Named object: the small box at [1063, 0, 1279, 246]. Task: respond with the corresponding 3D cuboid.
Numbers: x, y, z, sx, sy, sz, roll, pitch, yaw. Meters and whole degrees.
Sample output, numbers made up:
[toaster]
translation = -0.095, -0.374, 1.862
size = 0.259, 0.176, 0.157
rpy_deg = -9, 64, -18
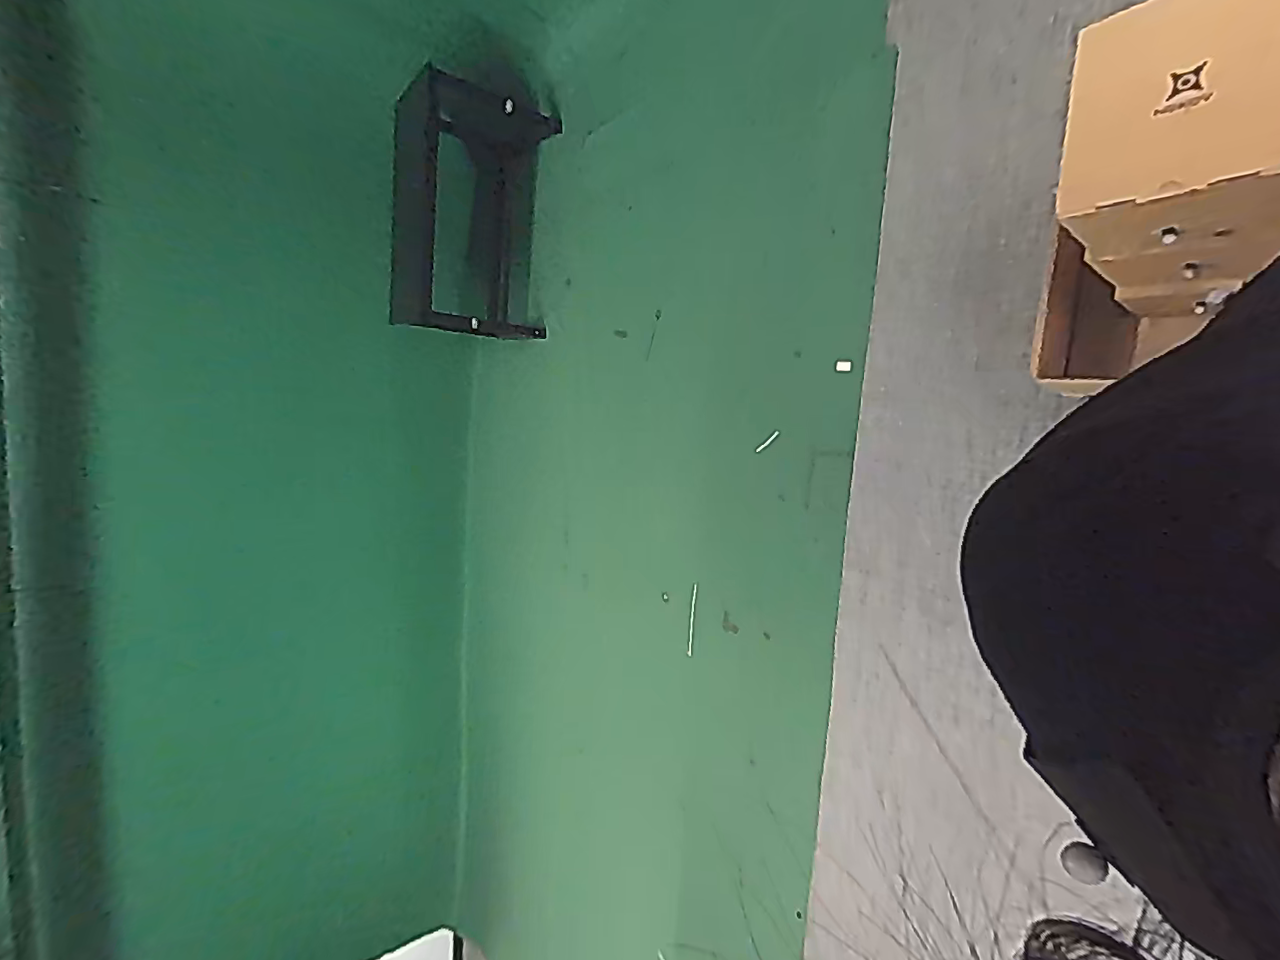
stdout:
[small box]
translation = 0.530, -0.343, 0.504
size = 0.168, 0.176, 0.179
rpy_deg = 10, 100, 52
